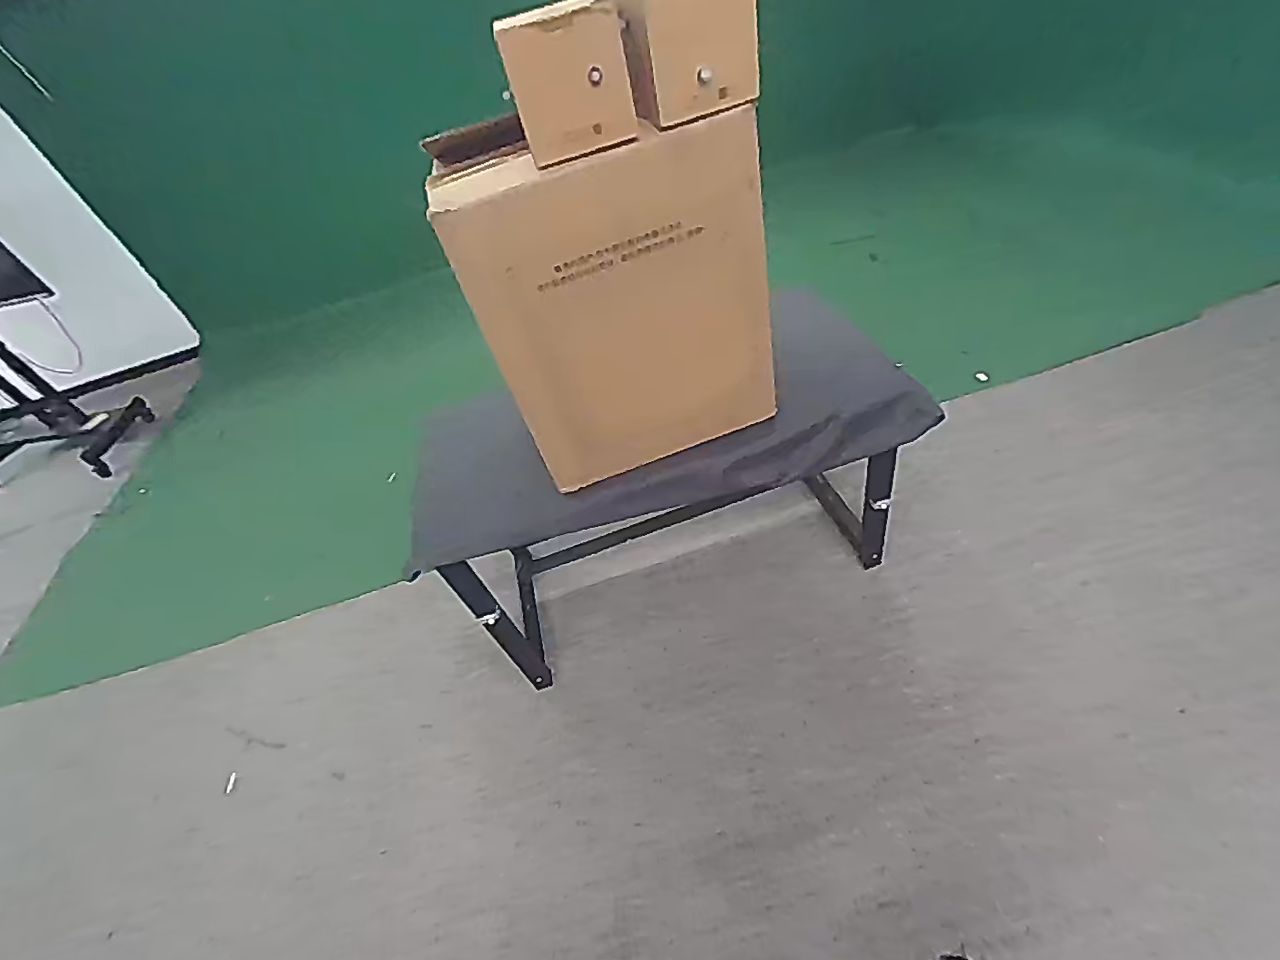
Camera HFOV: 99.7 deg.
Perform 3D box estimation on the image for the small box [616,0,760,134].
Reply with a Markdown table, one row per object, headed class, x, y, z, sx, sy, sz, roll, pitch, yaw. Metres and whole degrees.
| class | x | y | z | sx | sy | sz | roll | pitch | yaw |
| --- | --- | --- | --- | --- | --- | --- | --- | --- | --- |
| small box | 0.075 | -0.660 | 0.838 | 0.168 | 0.176 | 0.179 | -20 | 45 | -4 |
